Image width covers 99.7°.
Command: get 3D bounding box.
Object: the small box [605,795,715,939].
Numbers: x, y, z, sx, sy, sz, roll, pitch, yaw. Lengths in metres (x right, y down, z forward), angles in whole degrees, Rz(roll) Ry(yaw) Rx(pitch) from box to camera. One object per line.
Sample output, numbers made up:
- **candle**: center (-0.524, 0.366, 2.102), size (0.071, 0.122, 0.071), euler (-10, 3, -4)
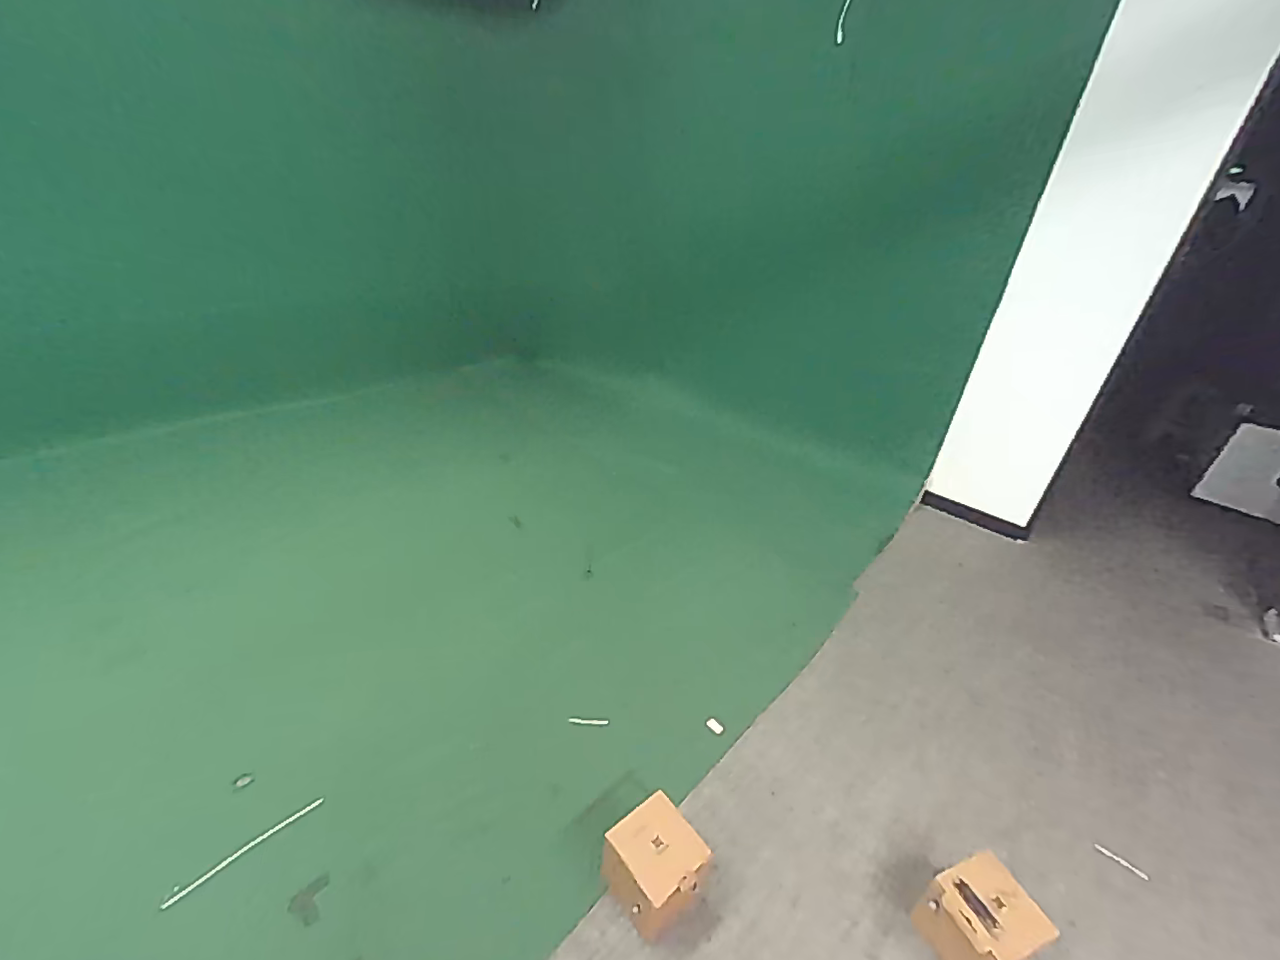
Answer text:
- **small box**: center (0.039, 0.856, 1.191), size (0.168, 0.176, 0.179), euler (-19, 37, -37)
